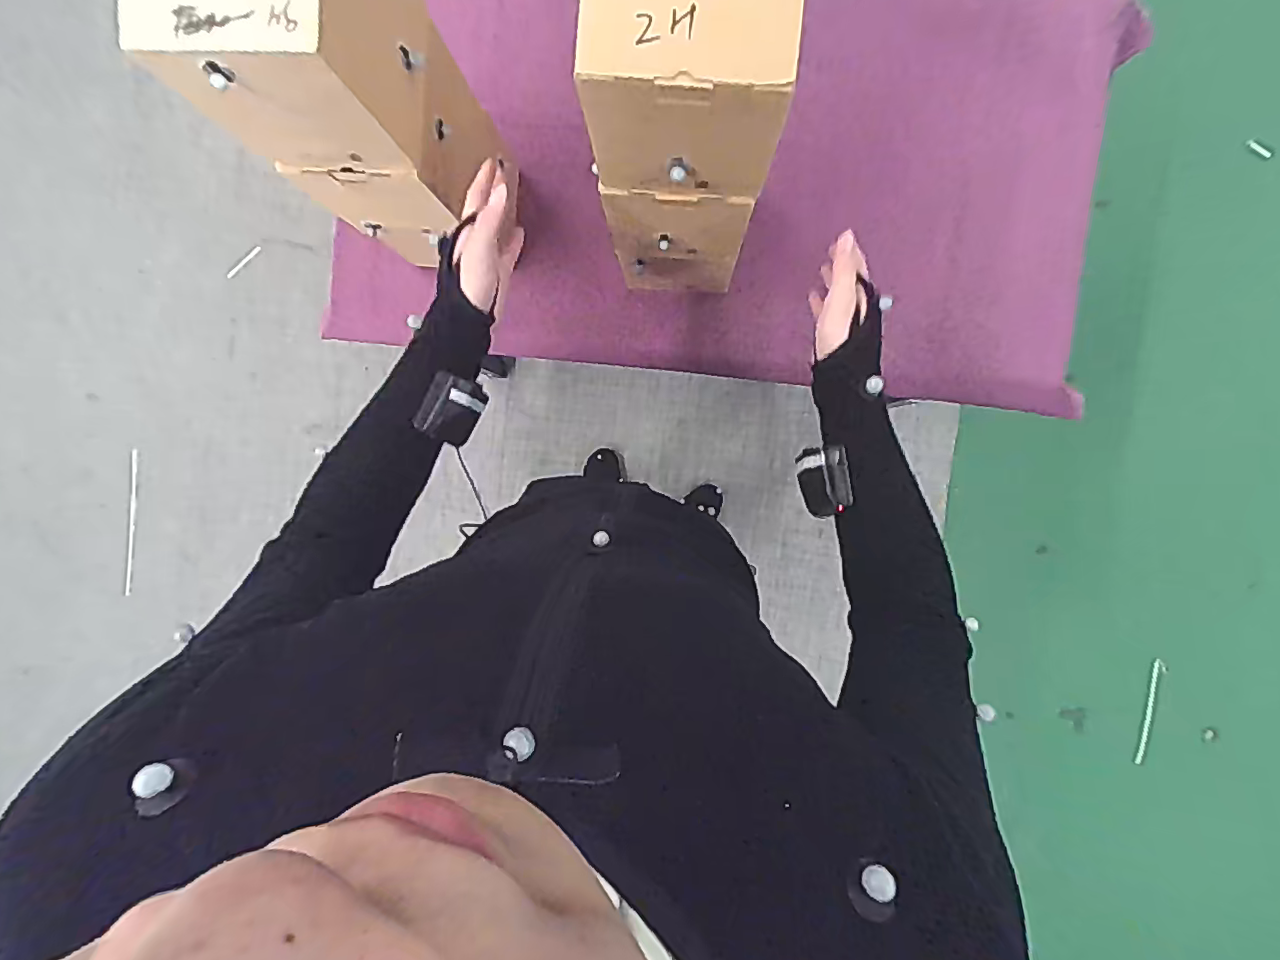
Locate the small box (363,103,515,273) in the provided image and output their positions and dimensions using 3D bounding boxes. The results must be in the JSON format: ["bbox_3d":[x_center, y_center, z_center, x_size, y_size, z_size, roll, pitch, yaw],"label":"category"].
[{"bbox_3d":[-0.296,-0.435,0.821,0.168,0.176,0.179,5,94,4],"label":"small box"}]

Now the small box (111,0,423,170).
[{"bbox_3d":[-0.316,-0.419,0.494,0.168,0.176,0.179,4,92,5],"label":"small box"}]

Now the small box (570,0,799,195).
[{"bbox_3d":[0.041,-0.383,0.473,0.168,0.176,0.179,6,93,3],"label":"small box"}]

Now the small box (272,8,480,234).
[{"bbox_3d":[-0.306,-0.419,0.658,0.168,0.176,0.179,5,92,4],"label":"small box"}]
